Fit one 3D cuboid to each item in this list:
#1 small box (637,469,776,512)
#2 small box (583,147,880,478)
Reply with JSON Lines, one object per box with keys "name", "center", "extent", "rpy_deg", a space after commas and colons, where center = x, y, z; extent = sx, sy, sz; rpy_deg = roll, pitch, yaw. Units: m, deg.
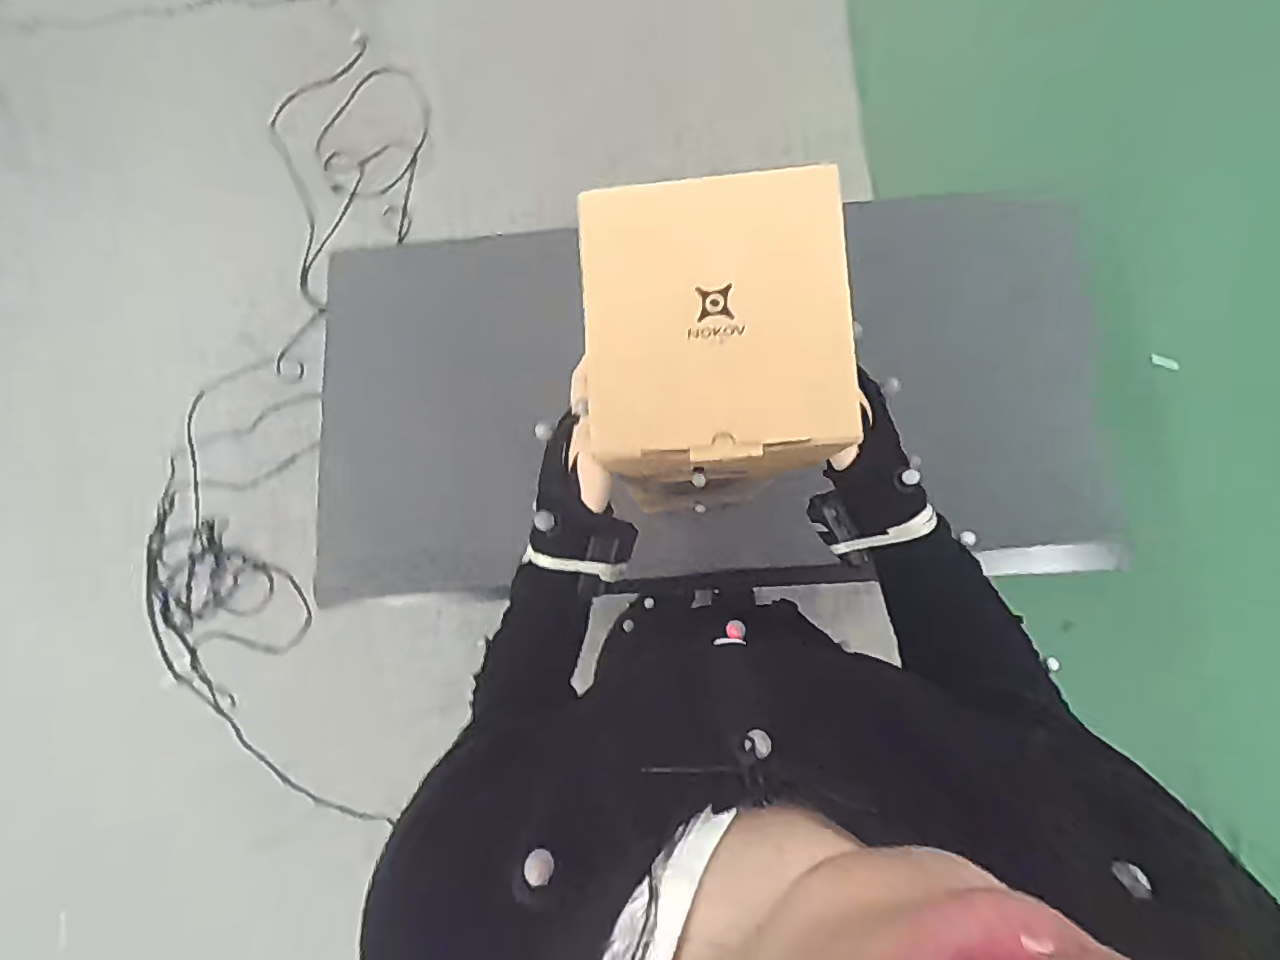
{"name": "small box", "center": [0.076, -0.061, 0.733], "extent": [0.168, 0.176, 0.179], "rpy_deg": [-8, 79, 3]}
{"name": "small box", "center": [0.055, -0.100, 0.397], "extent": [0.168, 0.176, 0.179], "rpy_deg": [-5, 86, 4]}
